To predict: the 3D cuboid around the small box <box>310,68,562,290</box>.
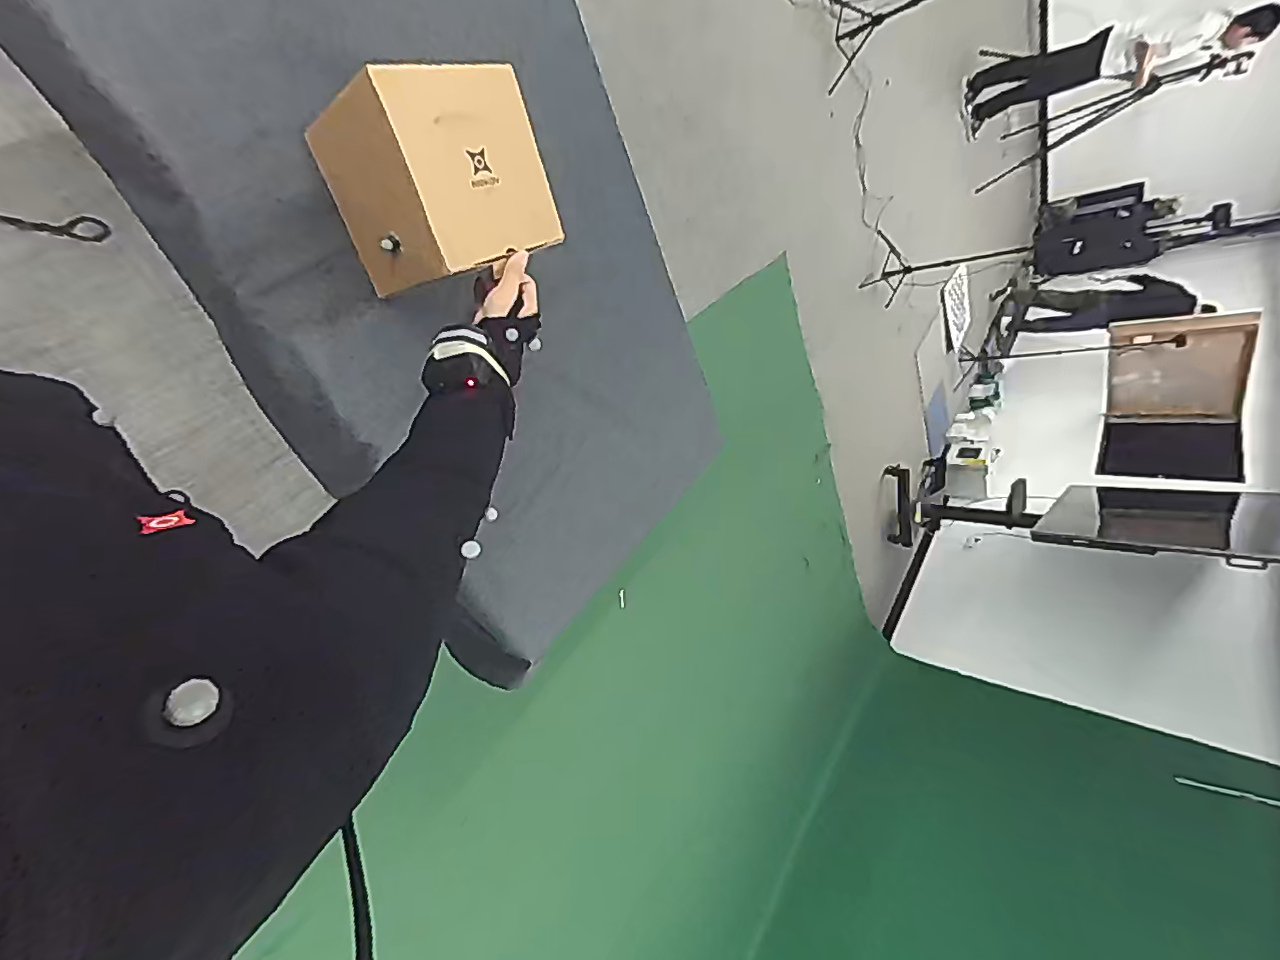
[{"bbox_3d":[-0.222,-0.321,0.599,0.168,0.176,0.179,-39,121,-39],"label":"small box"}]
